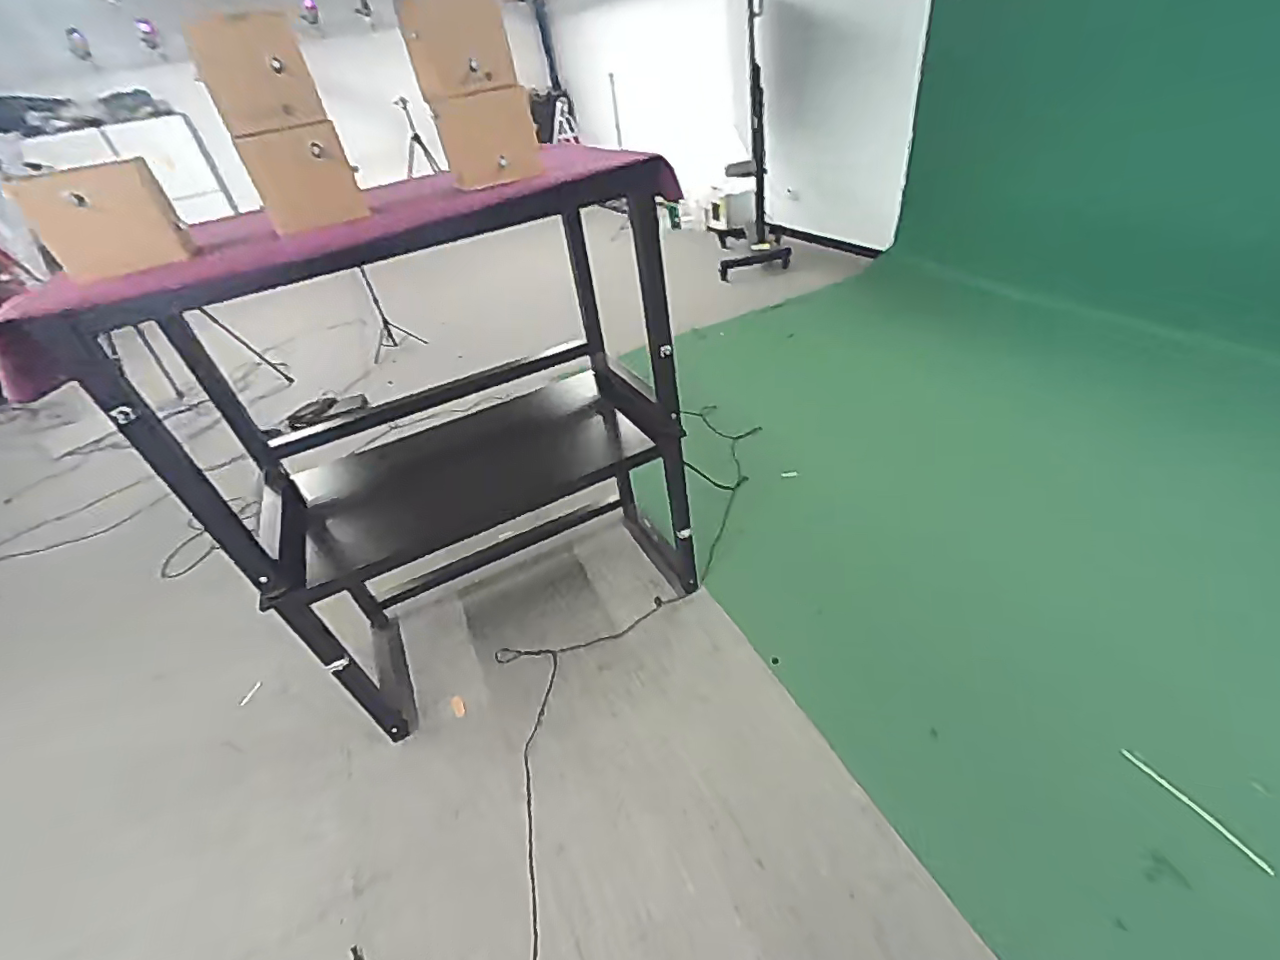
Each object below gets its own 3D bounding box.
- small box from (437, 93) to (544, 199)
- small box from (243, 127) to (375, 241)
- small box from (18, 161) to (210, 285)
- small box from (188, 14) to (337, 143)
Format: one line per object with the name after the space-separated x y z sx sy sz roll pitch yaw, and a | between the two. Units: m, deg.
-0.324 -0.739 1.199 0.179 0.176 0.168 -23 37 -17 | small box
-0.655 -0.601 1.095 0.179 0.176 0.168 -23 38 -16 | small box
-0.943 -0.472 0.992 0.179 0.176 0.168 -24 39 -19 | small box
-0.683 -0.733 1.003 0.168 0.176 0.179 -22 38 -17 | small box
